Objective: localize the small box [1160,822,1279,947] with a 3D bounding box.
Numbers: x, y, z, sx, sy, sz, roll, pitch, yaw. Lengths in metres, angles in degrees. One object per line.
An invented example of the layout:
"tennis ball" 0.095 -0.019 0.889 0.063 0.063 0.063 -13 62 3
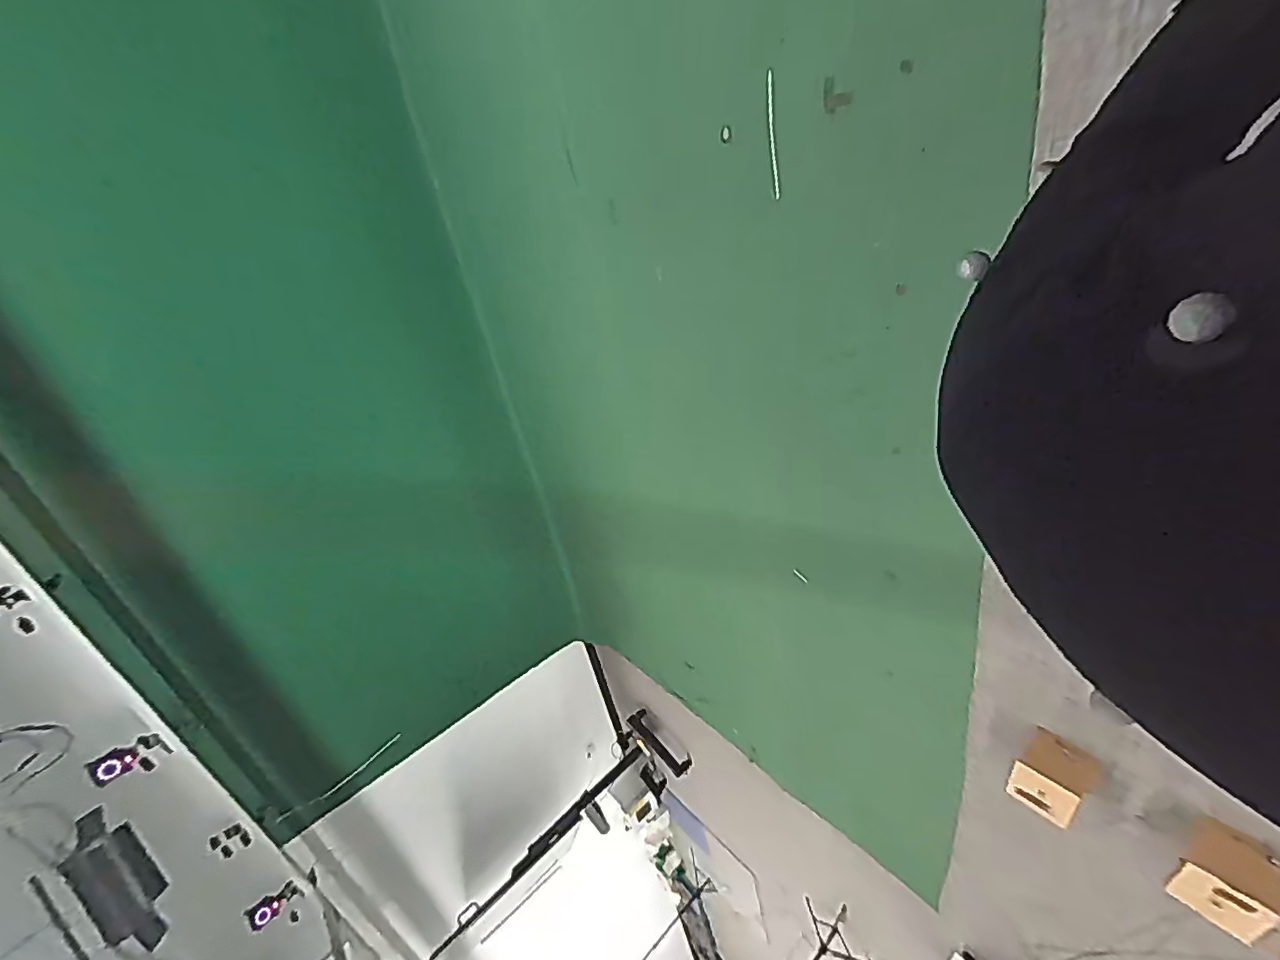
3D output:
"small box" 1.520 1.047 1.413 0.168 0.176 0.179 29 138 43
